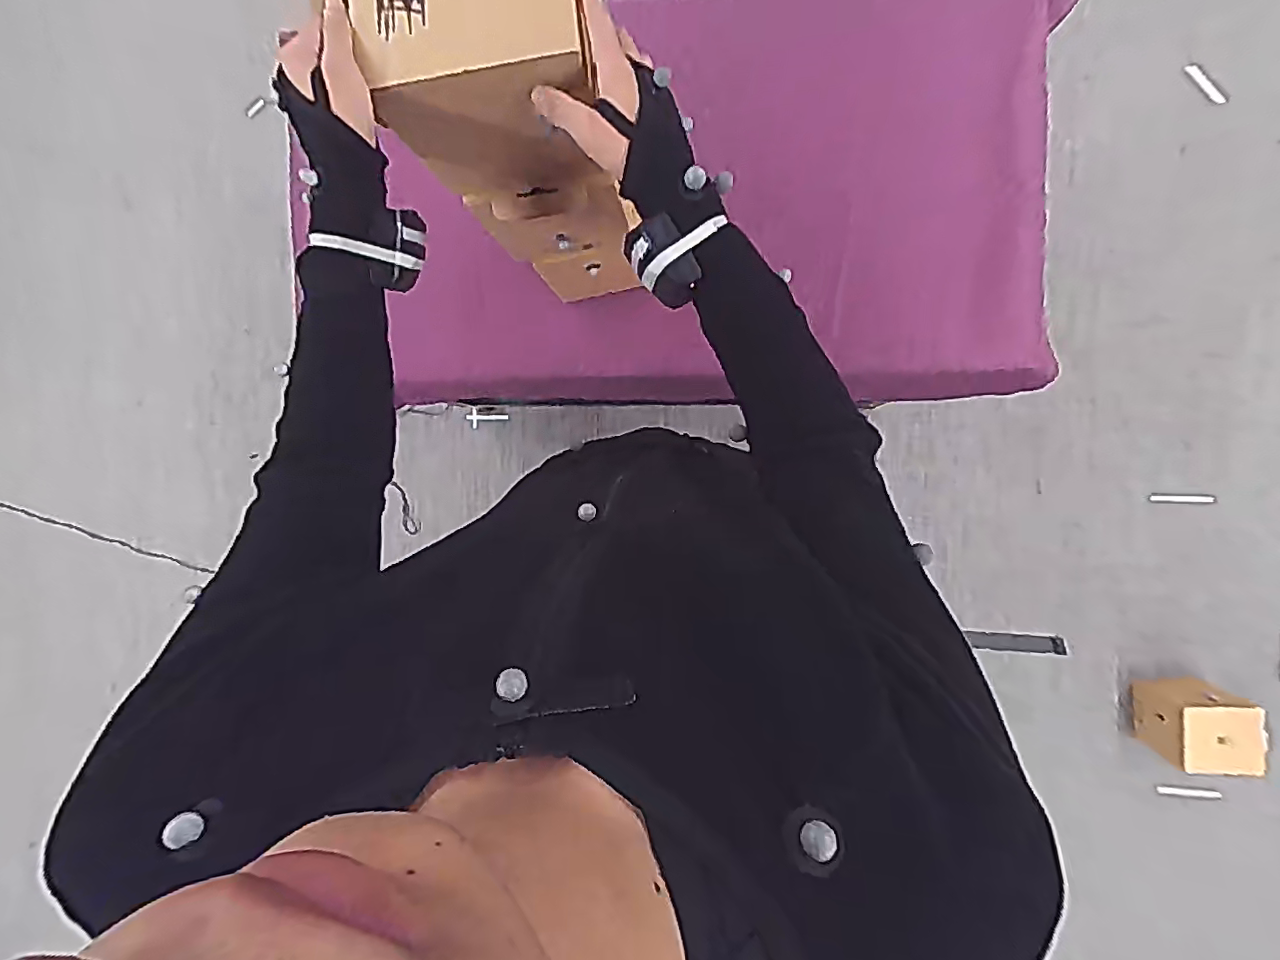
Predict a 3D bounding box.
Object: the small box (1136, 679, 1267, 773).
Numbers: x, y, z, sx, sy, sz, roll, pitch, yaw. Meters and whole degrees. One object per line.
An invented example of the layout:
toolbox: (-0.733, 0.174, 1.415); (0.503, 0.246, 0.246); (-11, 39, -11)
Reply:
small box: (1.423, 0.623, 1.384); (0.179, 0.176, 0.168); (-3, 92, 7)

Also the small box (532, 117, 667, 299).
small box: (-0.063, -0.382, 0.795); (0.179, 0.176, 0.168); (-10, 91, 6)

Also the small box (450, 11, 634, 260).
small box: (-0.103, -0.383, 0.634); (0.168, 0.176, 0.179); (-5, 92, 7)
